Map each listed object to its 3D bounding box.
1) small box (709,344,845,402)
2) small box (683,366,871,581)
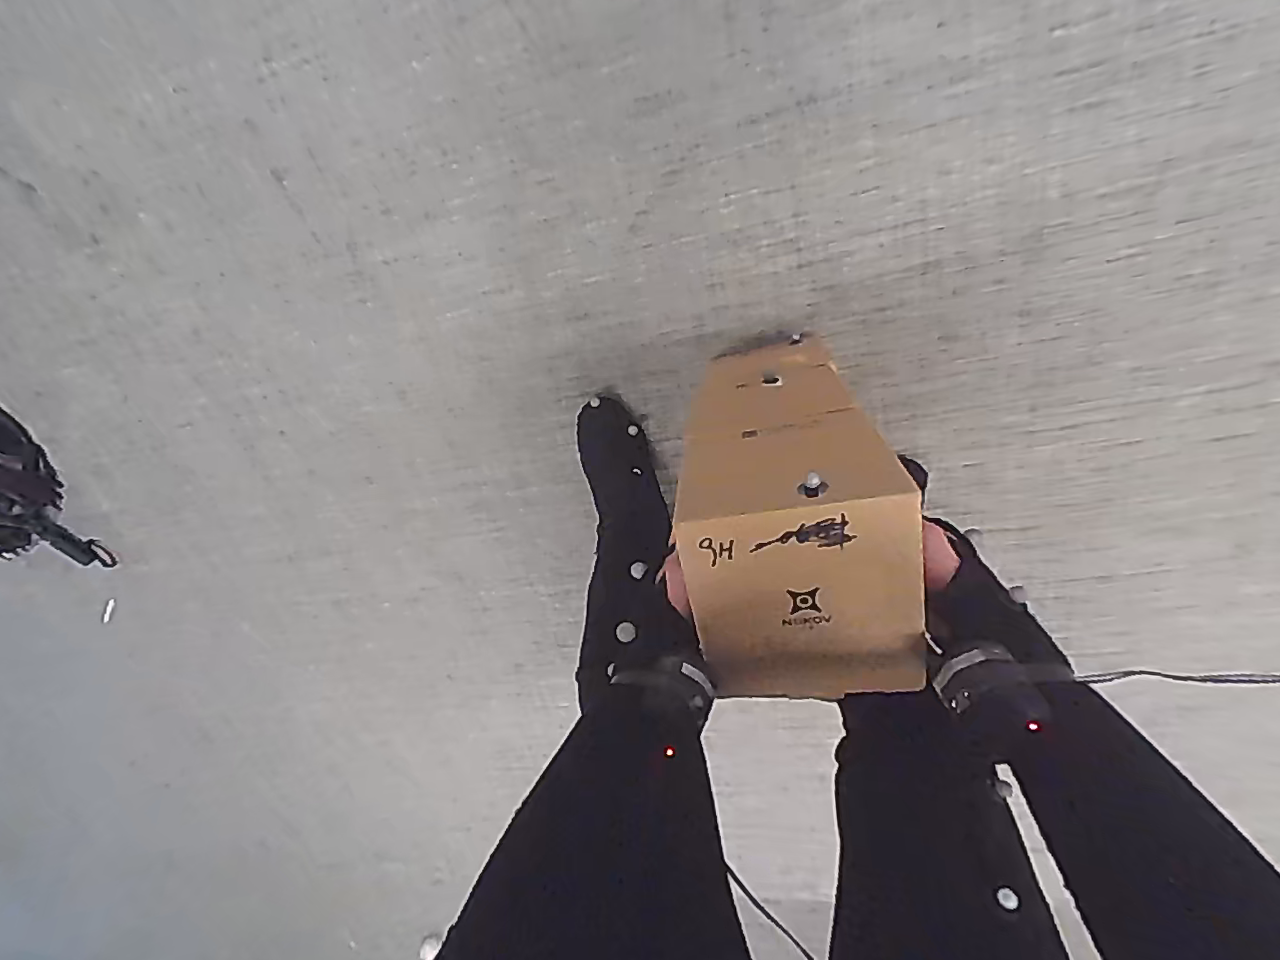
[{"bbox_3d":[0.192,-0.080,0.754,0.168,0.176,0.179,-11,114,16],"label":"small box"},{"bbox_3d":[0.153,-0.012,0.612,0.168,0.176,0.179,-10,113,14],"label":"small box"}]
